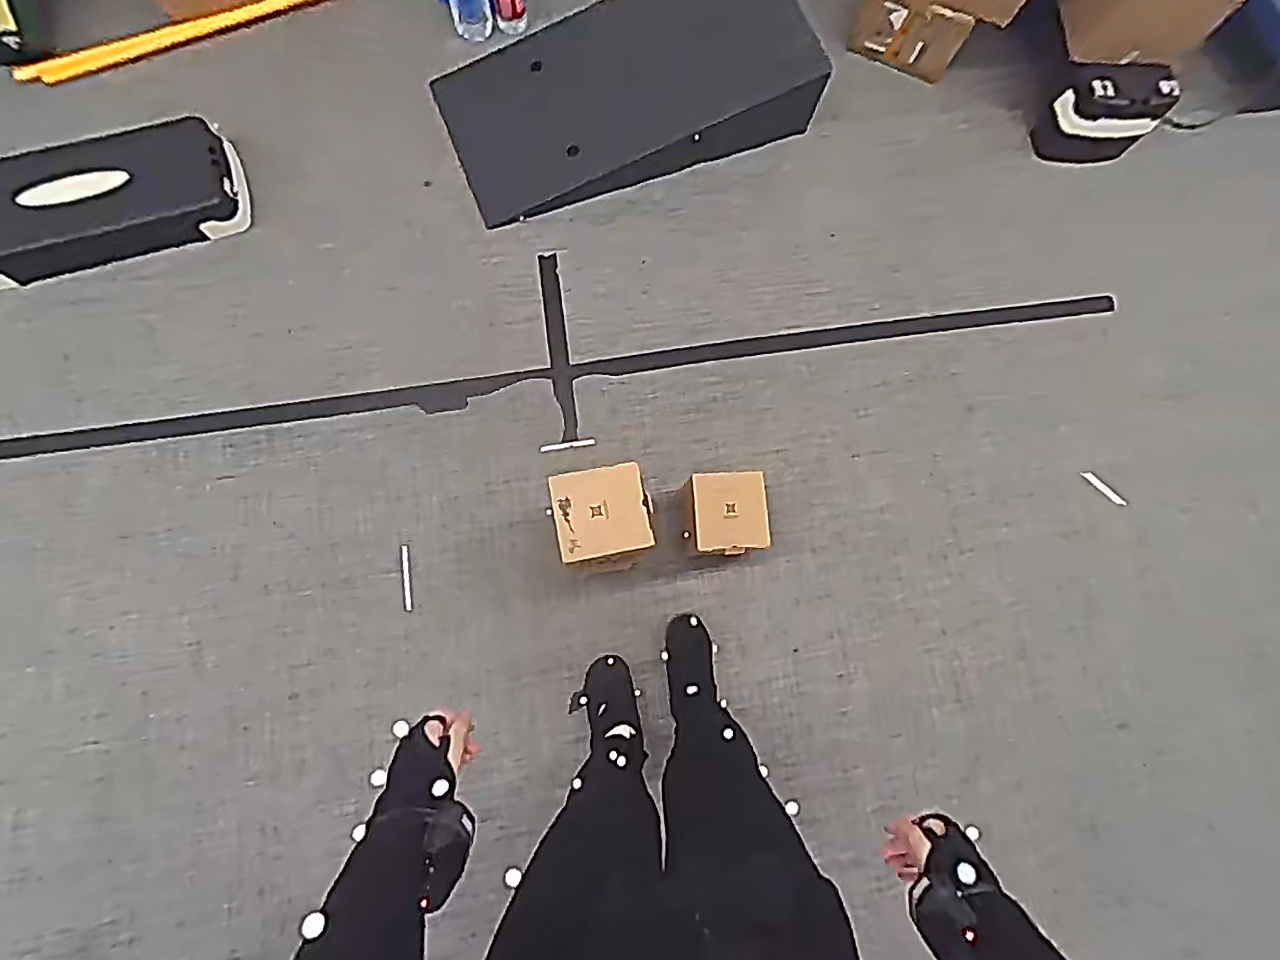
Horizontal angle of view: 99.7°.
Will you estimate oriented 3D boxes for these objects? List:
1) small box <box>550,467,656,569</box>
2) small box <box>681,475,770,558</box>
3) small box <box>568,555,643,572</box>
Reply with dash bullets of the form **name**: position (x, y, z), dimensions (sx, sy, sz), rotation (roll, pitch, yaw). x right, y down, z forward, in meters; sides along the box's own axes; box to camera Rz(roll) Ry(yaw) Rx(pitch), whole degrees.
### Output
- **small box**: position (-0.078, 0.081, 1.075), dimensions (0.179, 0.176, 0.168), rotation (-10, 79, -8)
- **small box**: position (0.193, 0.092, 1.267), dimensions (0.168, 0.176, 0.179), rotation (-2, 78, -6)
- **small box**: position (-0.086, 0.116, 1.236), dimensions (0.168, 0.176, 0.179), rotation (-5, 78, -6)
